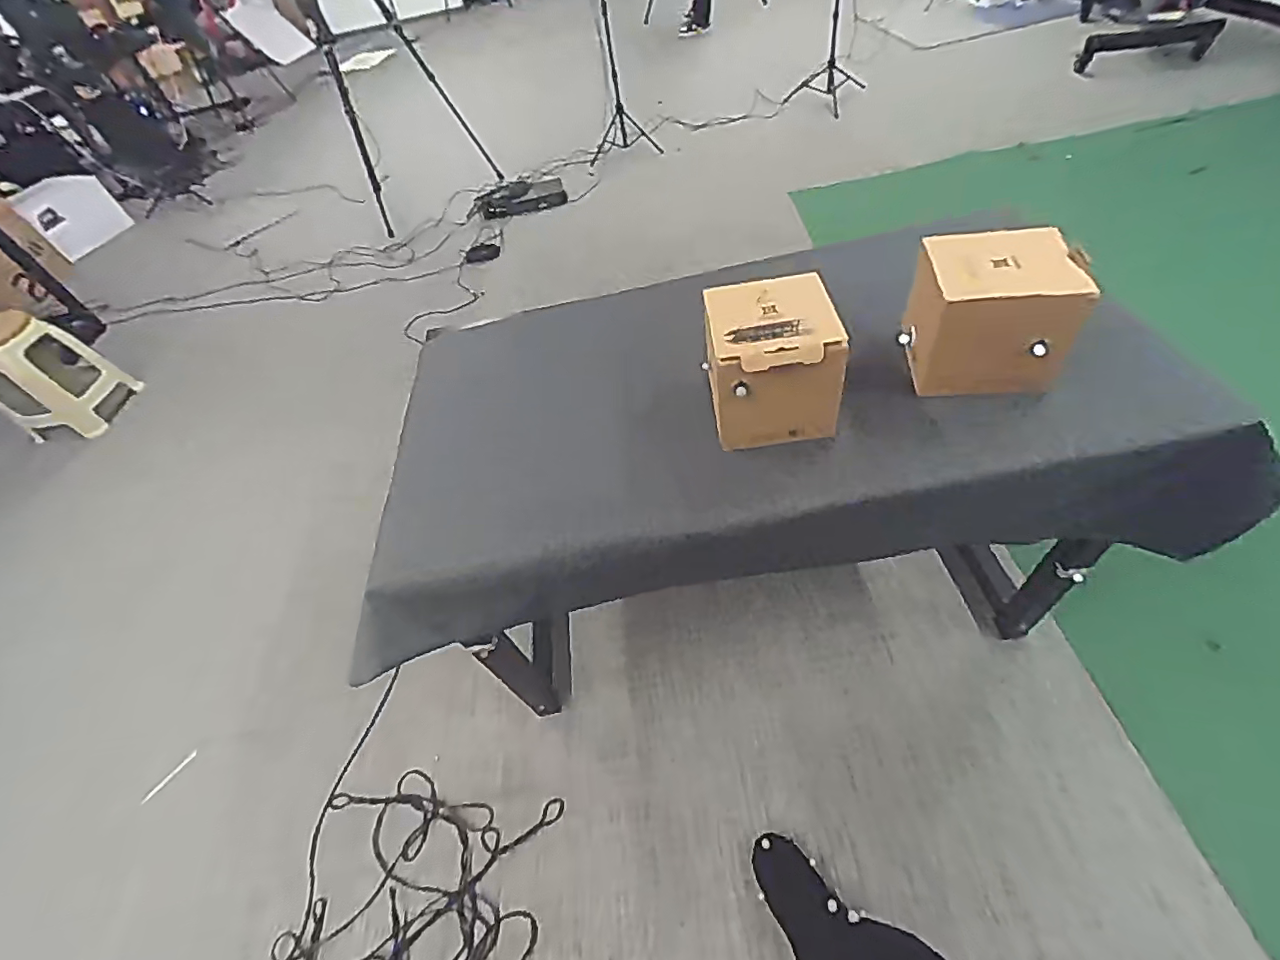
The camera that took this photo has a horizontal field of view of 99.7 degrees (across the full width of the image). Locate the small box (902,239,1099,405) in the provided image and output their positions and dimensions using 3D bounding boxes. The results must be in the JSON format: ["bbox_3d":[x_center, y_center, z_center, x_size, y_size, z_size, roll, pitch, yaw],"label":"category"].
[{"bbox_3d":[0.503,-0.224,0.787,0.179,0.176,0.168,0,50,13],"label":"small box"}]
